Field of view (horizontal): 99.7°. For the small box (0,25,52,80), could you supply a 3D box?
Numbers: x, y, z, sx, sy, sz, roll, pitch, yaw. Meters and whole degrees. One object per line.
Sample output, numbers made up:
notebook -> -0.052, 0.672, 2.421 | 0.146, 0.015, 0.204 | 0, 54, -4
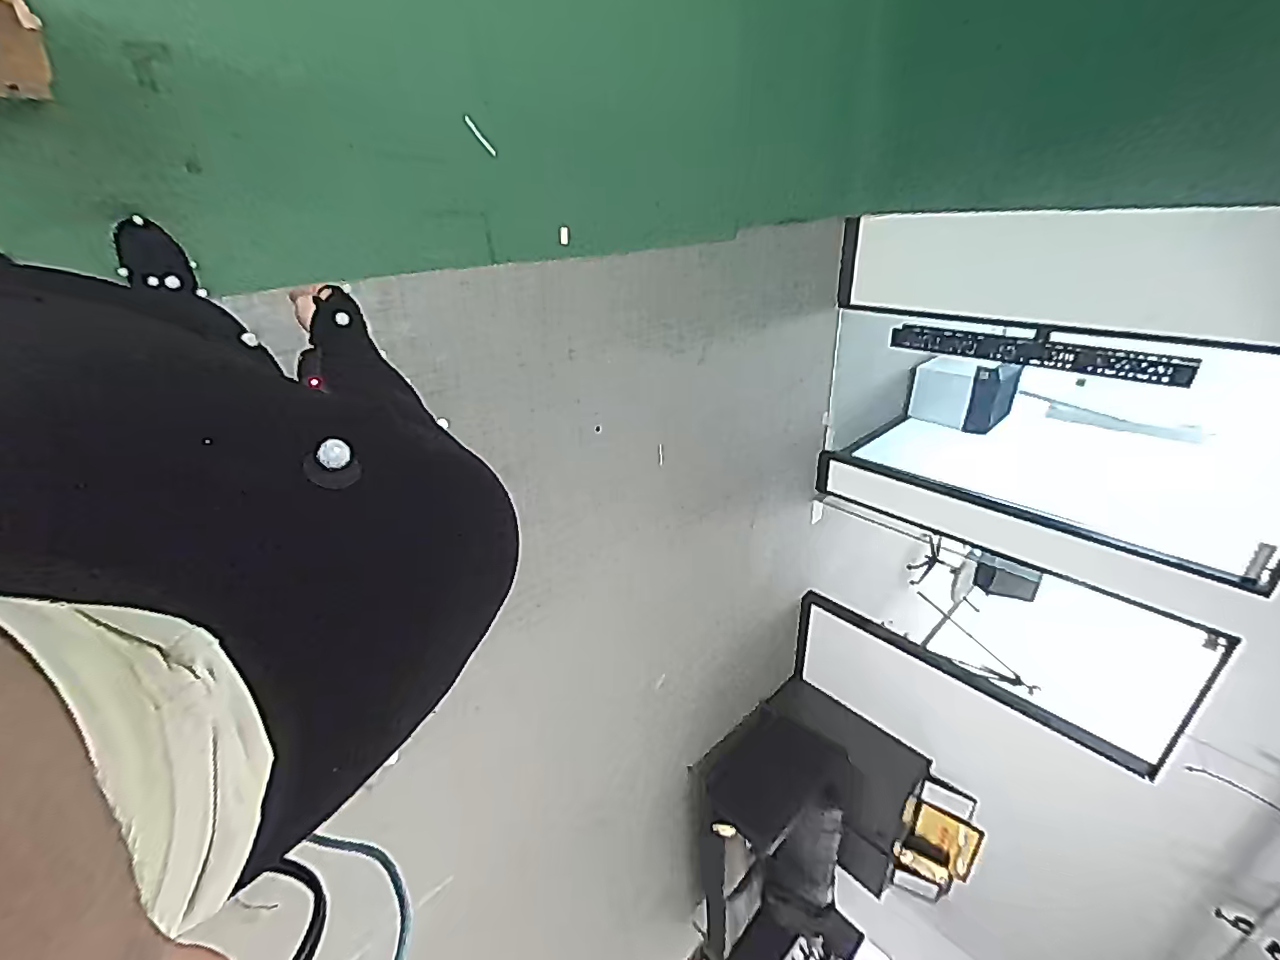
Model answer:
small box -> -0.996, -0.685, 0.767 | 0.179, 0.176, 0.168 | -26, 126, -33

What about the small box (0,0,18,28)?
small box -> -0.783, -0.581, 0.538 | 0.168, 0.176, 0.179 | -26, 126, -34

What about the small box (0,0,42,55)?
small box -> -0.888, -0.633, 0.653 | 0.179, 0.176, 0.168 | -29, 127, -34

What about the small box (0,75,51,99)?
small box -> -1.110, -0.730, 0.872 | 0.179, 0.176, 0.168 | -24, 124, -36
